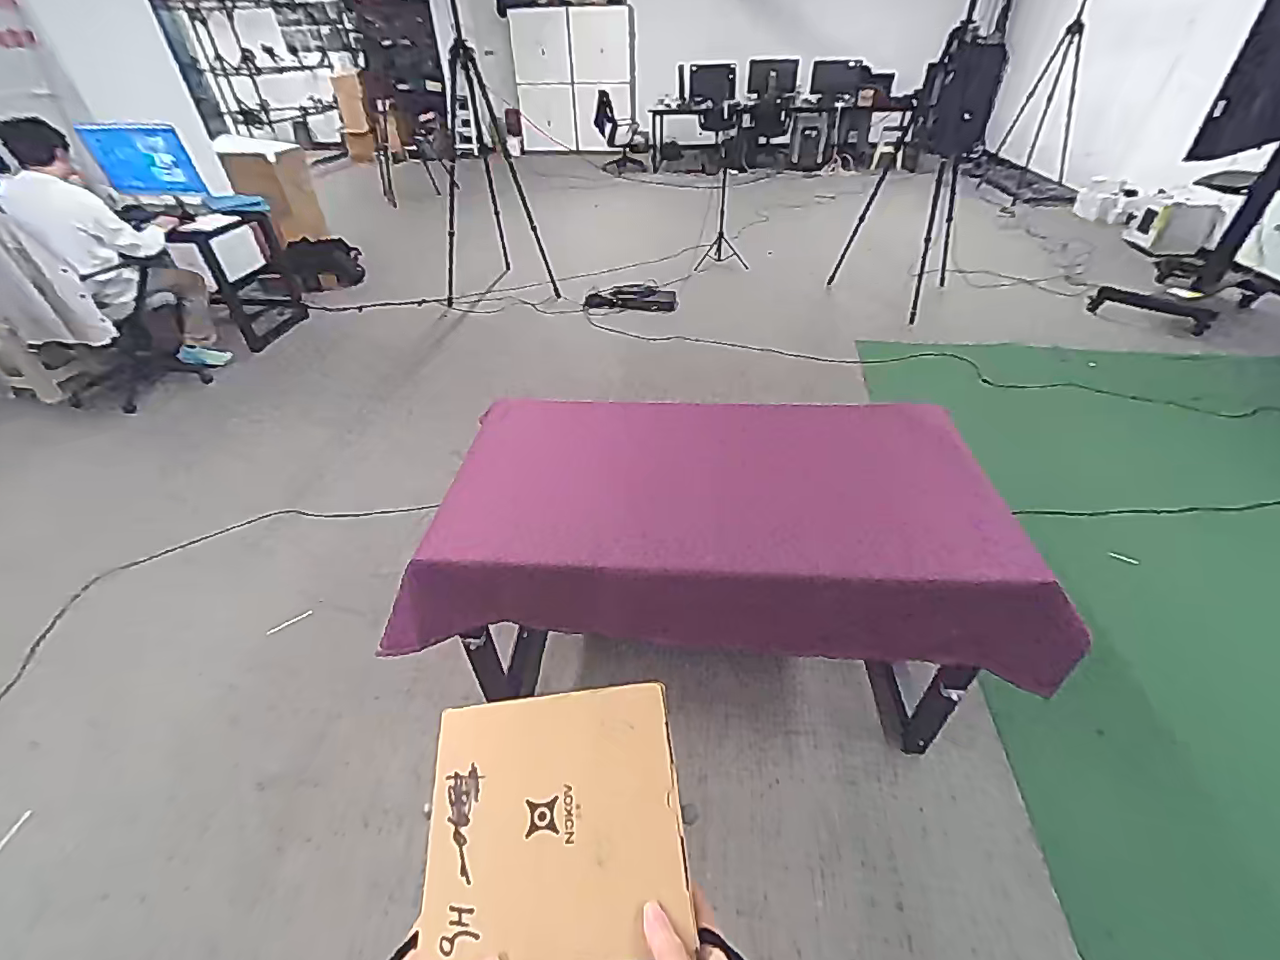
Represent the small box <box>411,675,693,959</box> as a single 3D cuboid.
[{"bbox_3d":[-0.059,0.276,0.443,0.179,0.176,0.168,-6,51,-2],"label":"small box"}]
